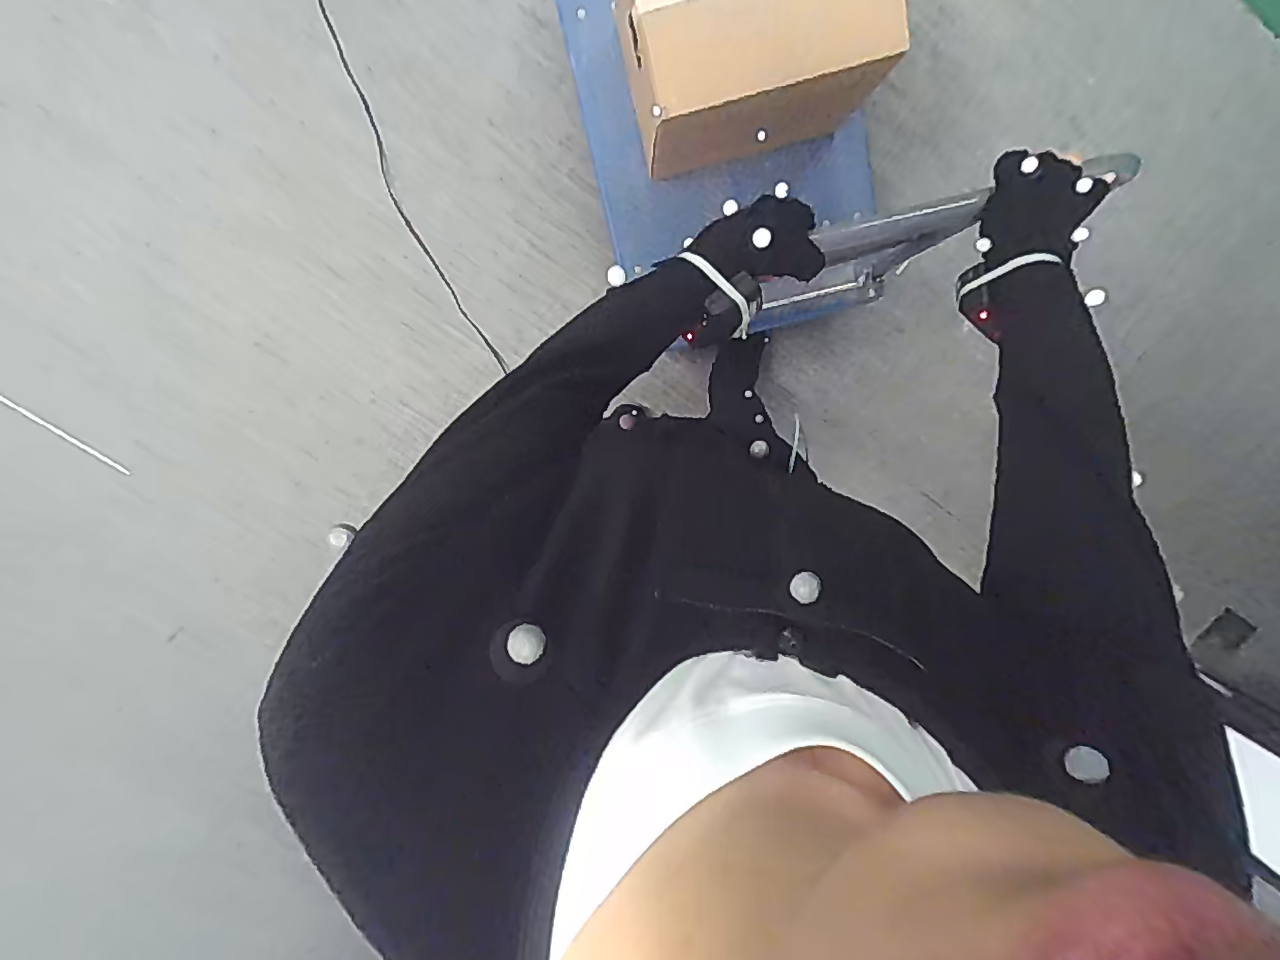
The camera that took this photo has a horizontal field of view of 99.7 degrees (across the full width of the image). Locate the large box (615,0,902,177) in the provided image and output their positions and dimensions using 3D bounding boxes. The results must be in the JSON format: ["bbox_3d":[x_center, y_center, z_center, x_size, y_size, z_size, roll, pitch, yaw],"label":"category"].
[{"bbox_3d":[0.185,-0.805,0.974,0.408,0.320,0.320,-15,102,3],"label":"large box"}]
